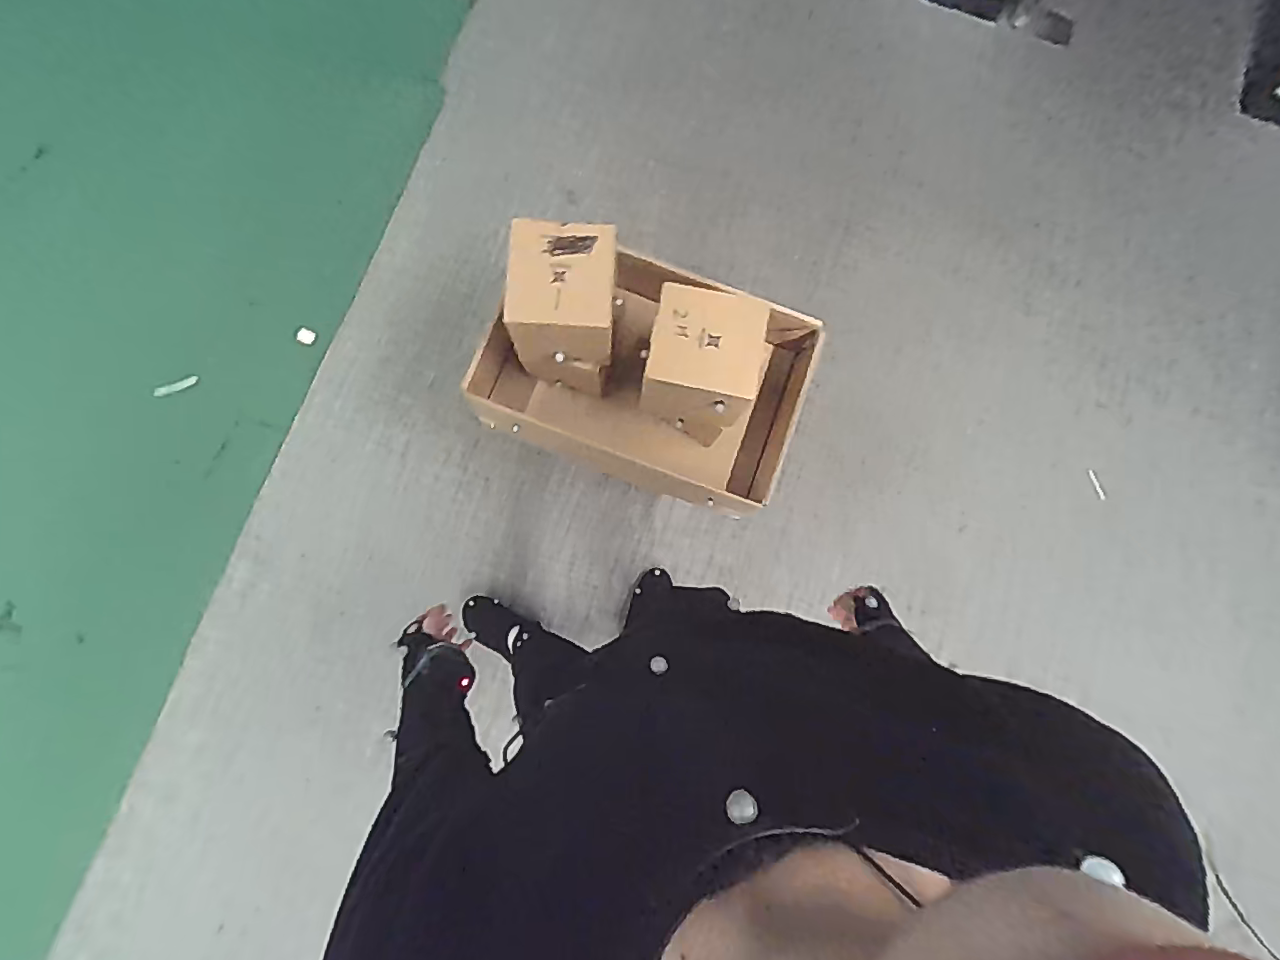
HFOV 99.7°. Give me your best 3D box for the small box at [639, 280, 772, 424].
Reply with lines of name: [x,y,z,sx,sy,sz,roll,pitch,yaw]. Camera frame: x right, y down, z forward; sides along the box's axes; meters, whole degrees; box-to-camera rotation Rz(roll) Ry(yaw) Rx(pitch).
small box: [0.102,-0.203,0.907,0.179,0.176,0.168,12,80,0]

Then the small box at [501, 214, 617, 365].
small box: [-0.129,-0.312,0.911,0.168,0.176,0.179,4,82,-2]

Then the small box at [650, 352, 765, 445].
small box: [0.120,-0.191,1.075,0.168,0.176,0.179,30,81,2]
